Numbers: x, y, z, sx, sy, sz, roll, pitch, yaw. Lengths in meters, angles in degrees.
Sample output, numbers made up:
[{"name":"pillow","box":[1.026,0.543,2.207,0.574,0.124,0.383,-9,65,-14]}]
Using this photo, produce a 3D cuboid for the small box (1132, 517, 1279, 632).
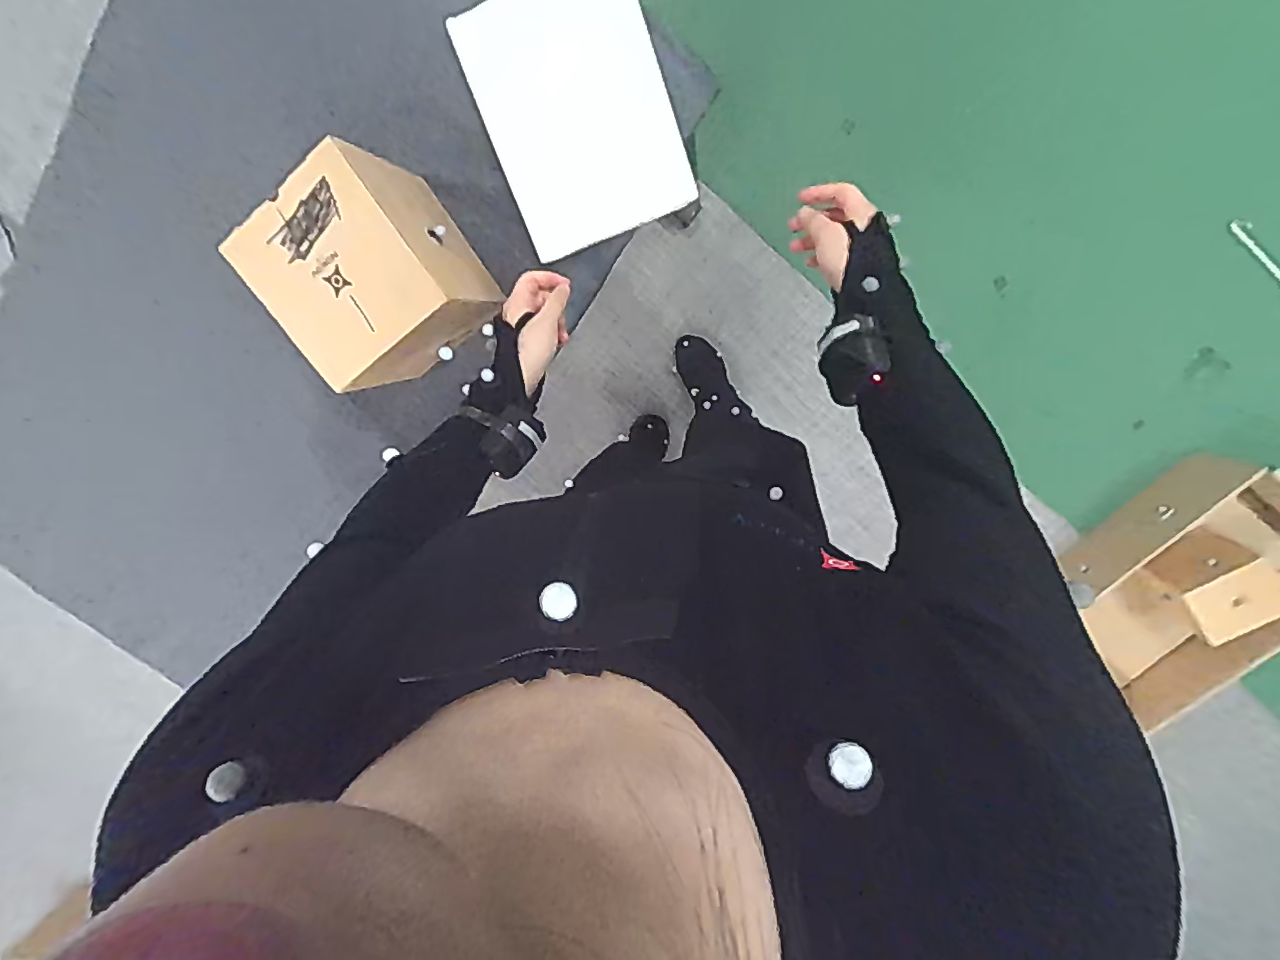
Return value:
[{"name":"small box","box":[1.333,0.219,1.286,0.179,0.176,0.168,-37,102,17]}]

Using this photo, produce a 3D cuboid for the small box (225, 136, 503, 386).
[{"name":"small box","box":[-0.288,-0.229,0.603,0.168,0.176,0.179,-33,101,16]}]
